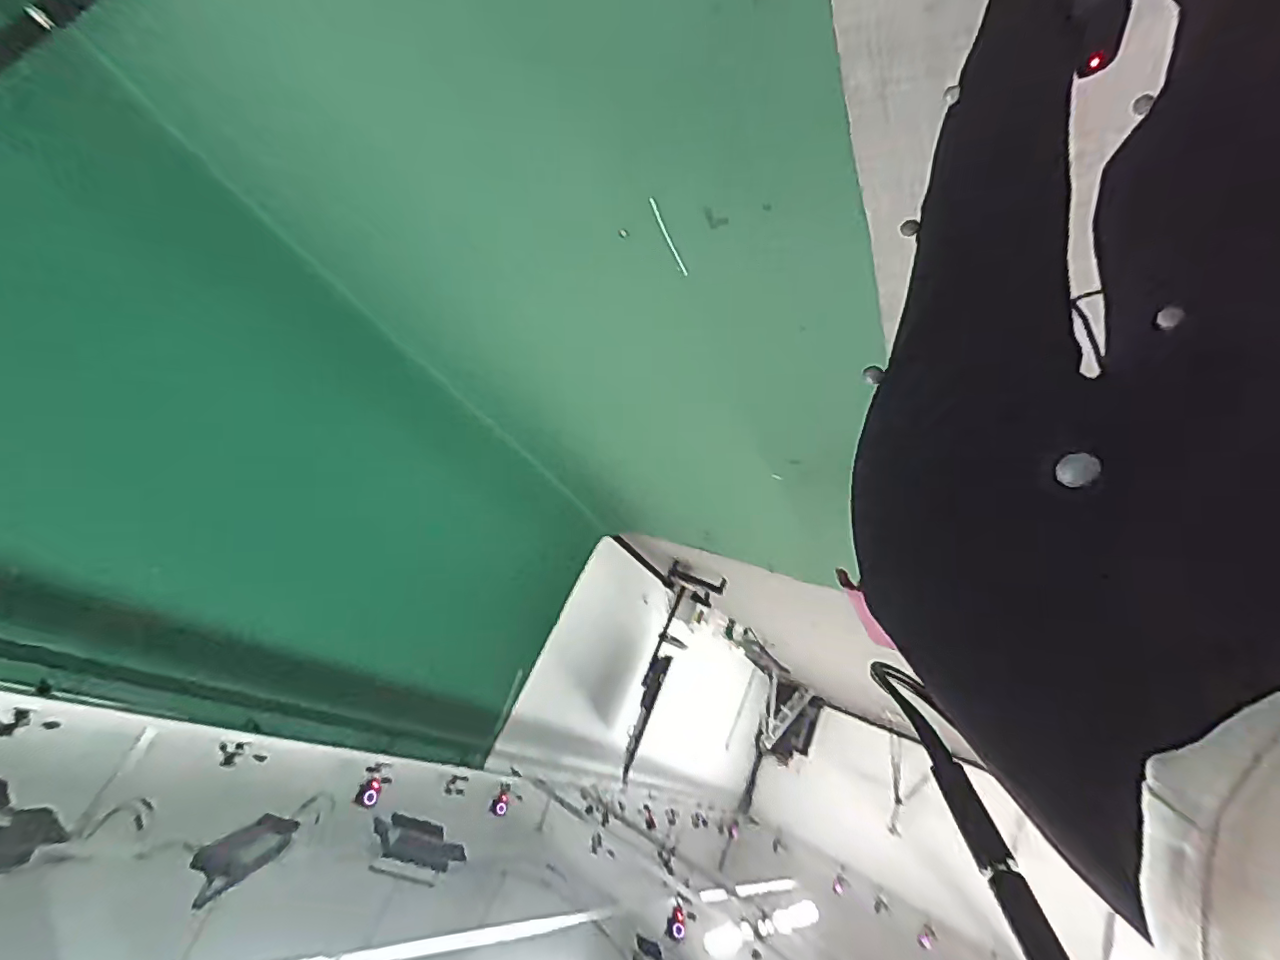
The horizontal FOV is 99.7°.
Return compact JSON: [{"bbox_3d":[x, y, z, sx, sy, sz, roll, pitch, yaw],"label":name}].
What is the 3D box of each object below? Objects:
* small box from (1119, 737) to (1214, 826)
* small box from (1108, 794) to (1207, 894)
[{"bbox_3d":[1.475,0.842,1.519,0.168,0.176,0.179,11,157,39],"label":"small box"},{"bbox_3d":[1.409,0.984,1.474,0.168,0.176,0.179,10,156,38],"label":"small box"}]
